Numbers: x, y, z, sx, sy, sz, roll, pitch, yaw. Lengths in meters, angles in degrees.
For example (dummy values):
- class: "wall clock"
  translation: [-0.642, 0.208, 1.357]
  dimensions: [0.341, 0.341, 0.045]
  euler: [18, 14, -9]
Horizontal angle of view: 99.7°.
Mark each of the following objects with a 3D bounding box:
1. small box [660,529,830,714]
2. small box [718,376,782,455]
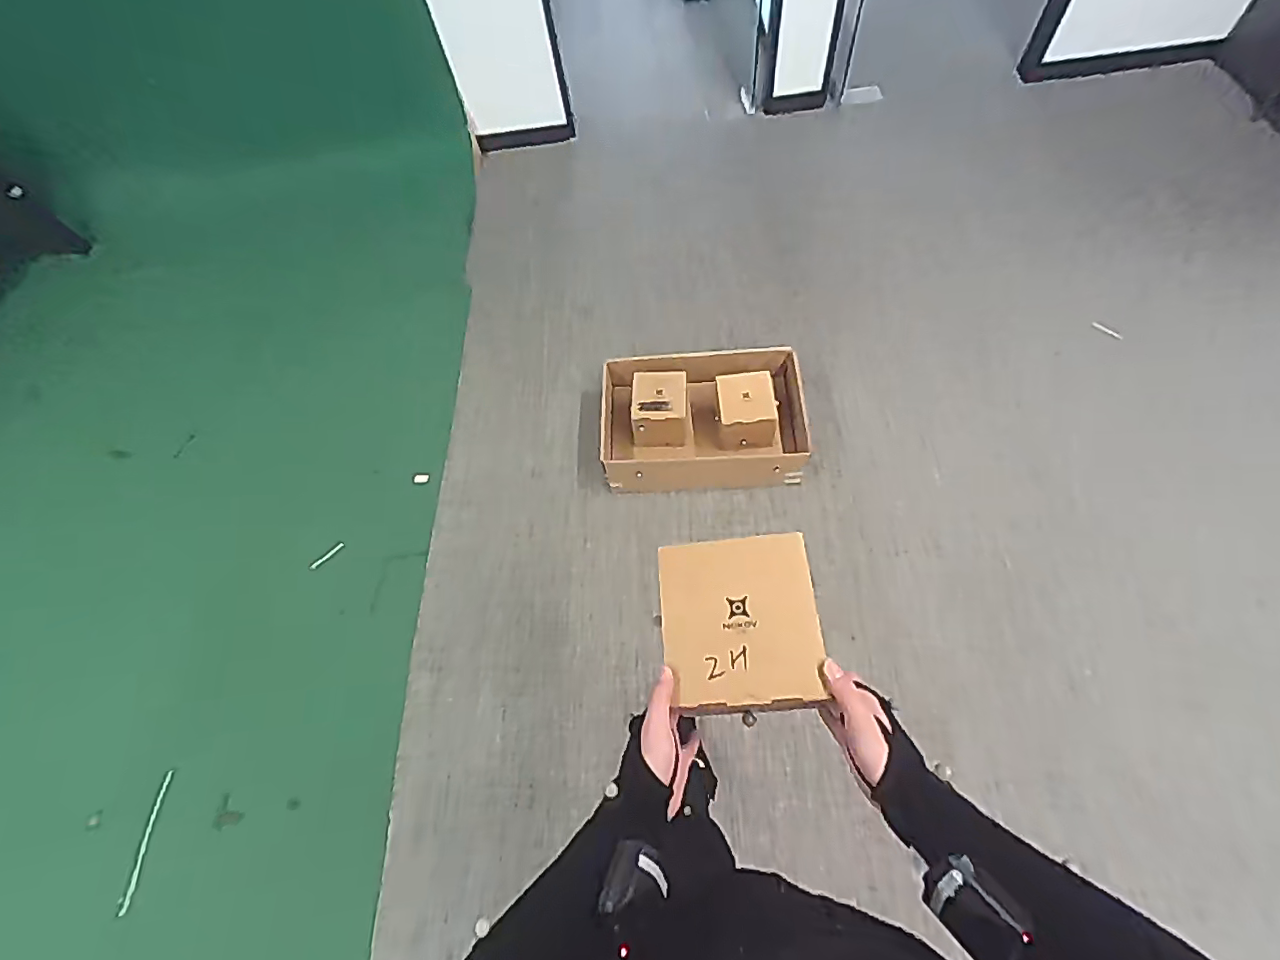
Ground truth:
- class: "small box"
  translation: [0.118, 0.175, 0.645]
  dimensions: [0.168, 0.176, 0.179]
  euler: [-7, 62, 9]
- class: "small box"
  translation: [0.337, -0.197, 1.685]
  dimensions: [0.168, 0.176, 0.179]
  euler: [-6, 63, 4]
